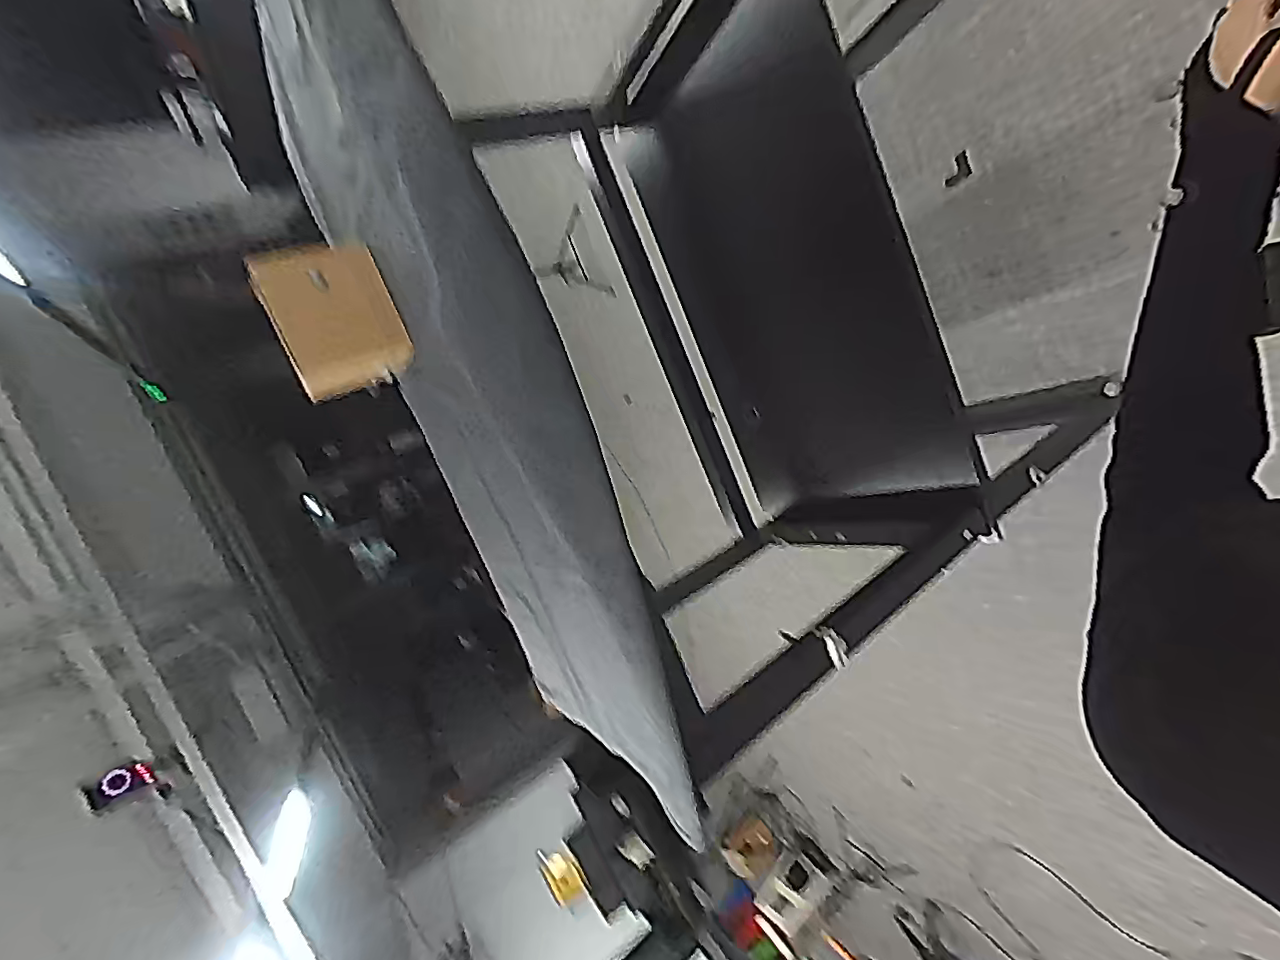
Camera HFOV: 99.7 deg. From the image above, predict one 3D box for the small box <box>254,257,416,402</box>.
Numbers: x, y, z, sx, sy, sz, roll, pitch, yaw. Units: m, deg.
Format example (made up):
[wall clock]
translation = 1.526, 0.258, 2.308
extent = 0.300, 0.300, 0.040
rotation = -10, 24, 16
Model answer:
[small box]
translation = -0.494, -0.250, 0.893
extent = 0.168, 0.176, 0.179
rotation = -7, 107, 63
